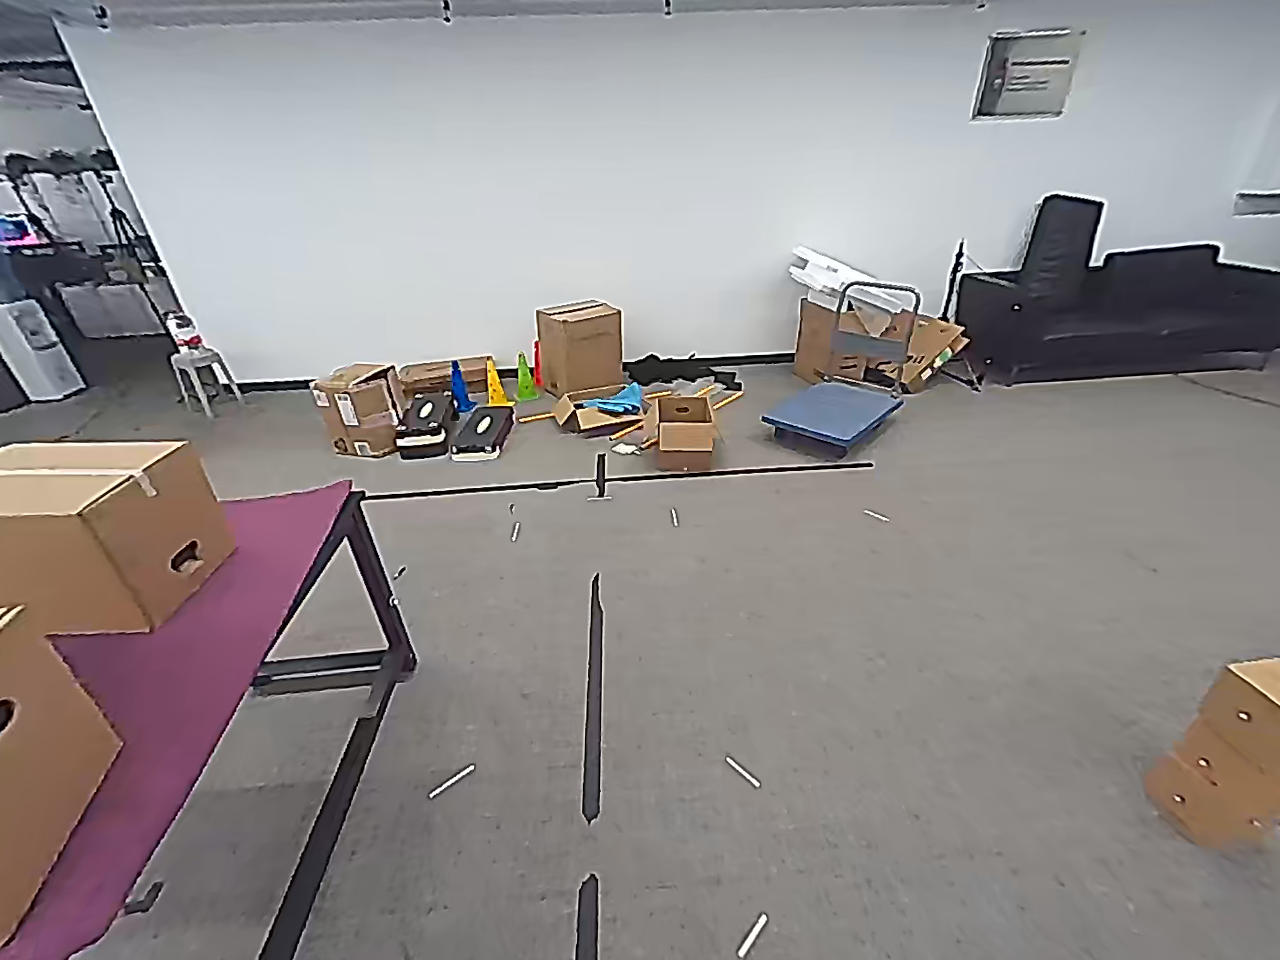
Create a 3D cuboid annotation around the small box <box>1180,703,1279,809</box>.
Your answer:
[{"bbox_3d":[1.509,0.678,1.329,0.179,0.176,0.168,-5,29,-2],"label":"small box"}]

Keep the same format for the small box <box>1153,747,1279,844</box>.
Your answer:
[{"bbox_3d":[1.507,0.818,1.411,0.179,0.176,0.168,-5,30,-4],"label":"small box"}]
